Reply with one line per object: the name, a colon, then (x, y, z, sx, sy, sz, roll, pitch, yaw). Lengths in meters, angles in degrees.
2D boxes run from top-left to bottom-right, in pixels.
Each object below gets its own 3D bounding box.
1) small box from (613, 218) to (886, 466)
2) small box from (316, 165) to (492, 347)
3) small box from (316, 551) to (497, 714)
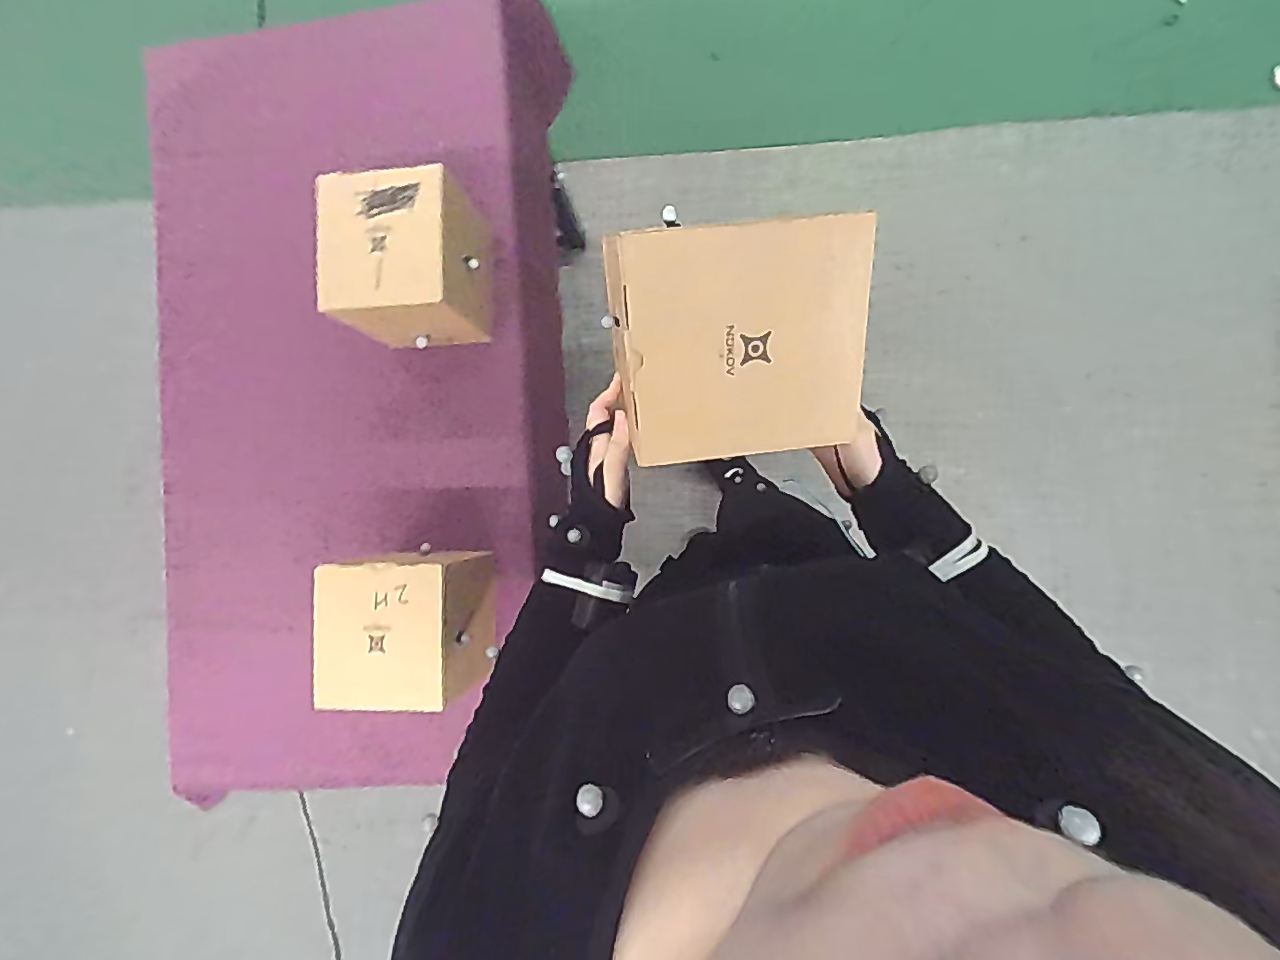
small box: (0.075, -0.126, 0.457, 0.179, 0.176, 0.168, -6, 115, -3)
small box: (-0.313, -0.295, 0.746, 0.168, 0.176, 0.179, -2, 89, 7)
small box: (-0.300, 0.191, 0.724, 0.168, 0.176, 0.179, -1, 87, 6)
